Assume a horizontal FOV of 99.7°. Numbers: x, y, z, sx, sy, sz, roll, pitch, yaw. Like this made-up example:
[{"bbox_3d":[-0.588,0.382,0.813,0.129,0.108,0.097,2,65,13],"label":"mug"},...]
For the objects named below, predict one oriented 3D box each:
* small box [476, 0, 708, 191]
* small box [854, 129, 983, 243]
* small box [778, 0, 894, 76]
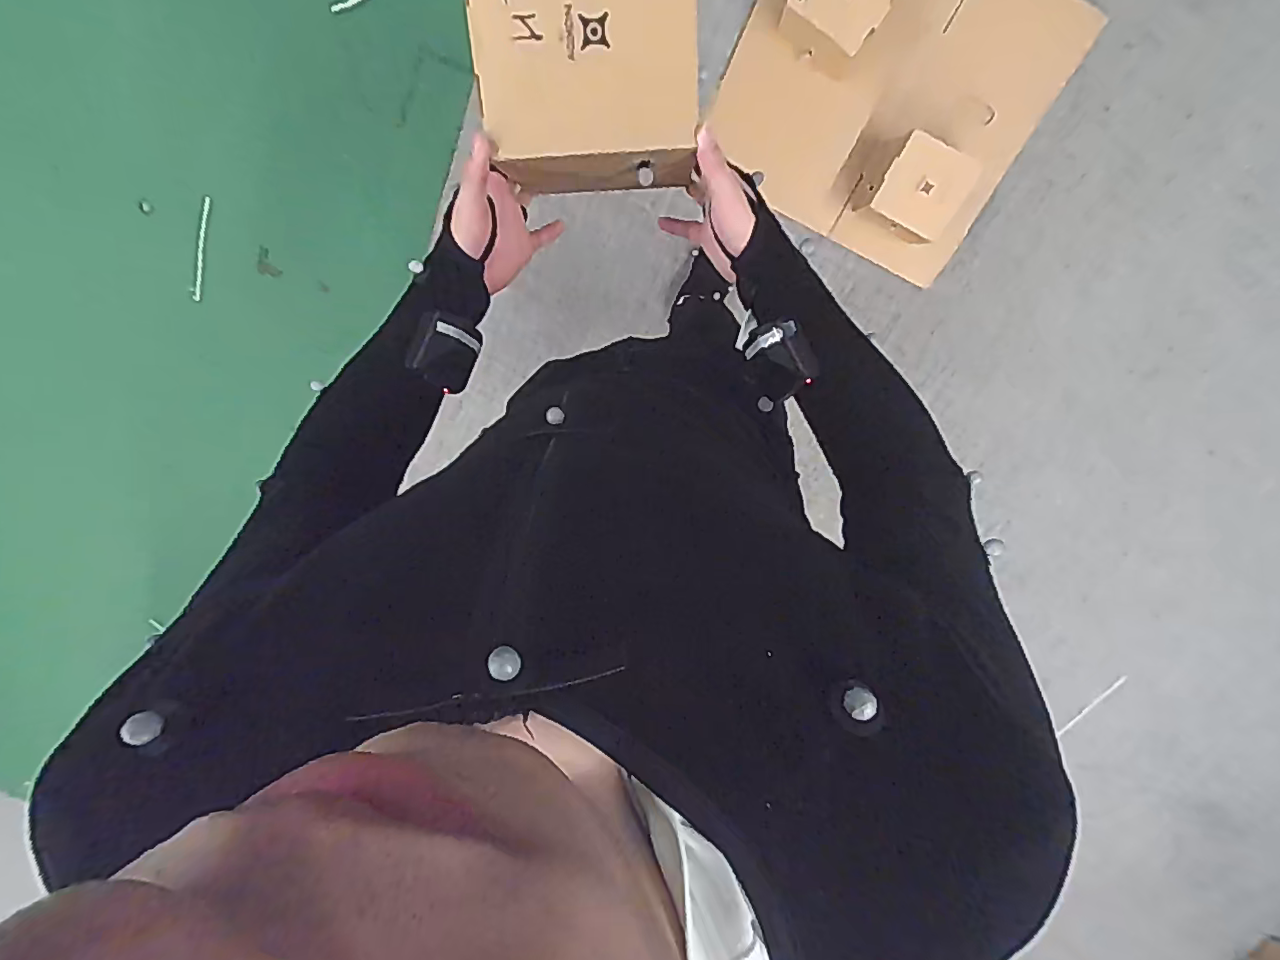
[{"bbox_3d":[-0.034,-0.368,0.484,0.179,0.176,0.168,-2,108,3],"label":"small box"},{"bbox_3d":[0.621,-0.658,1.236,0.179,0.176,0.168,27,114,-4],"label":"small box"},{"bbox_3d":[0.411,-0.985,1.124,0.179,0.176,0.168,34,113,-7],"label":"small box"}]
